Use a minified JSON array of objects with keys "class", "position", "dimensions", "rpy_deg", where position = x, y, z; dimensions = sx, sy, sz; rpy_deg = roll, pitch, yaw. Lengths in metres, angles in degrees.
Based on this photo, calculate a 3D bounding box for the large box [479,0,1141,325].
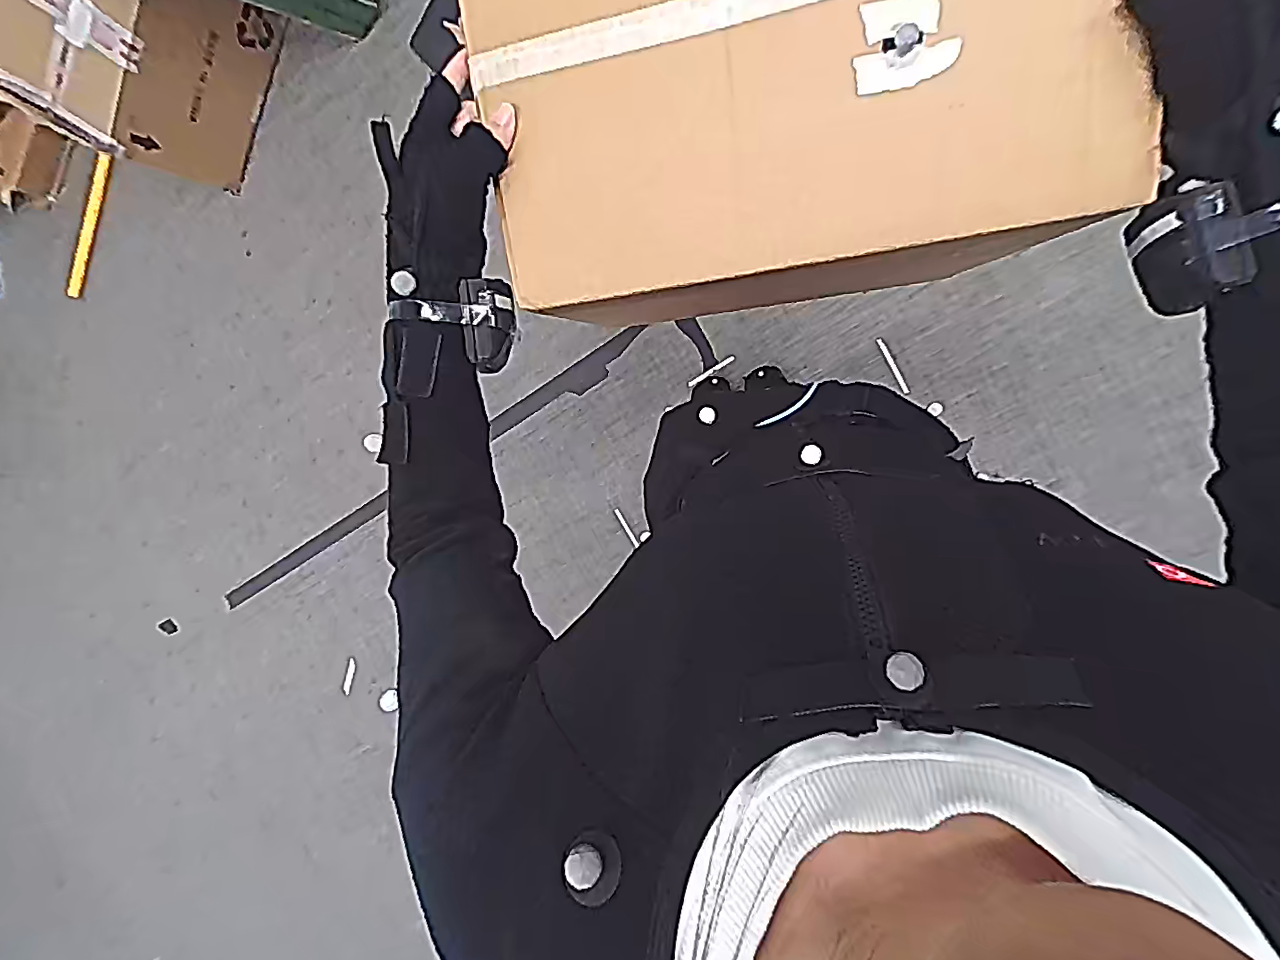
[{"class":"large box","position":[0.111,-0.336,0.483],"dimensions":[0.408,0.320,0.320],"rpy_deg":[-6,102,10]}]
